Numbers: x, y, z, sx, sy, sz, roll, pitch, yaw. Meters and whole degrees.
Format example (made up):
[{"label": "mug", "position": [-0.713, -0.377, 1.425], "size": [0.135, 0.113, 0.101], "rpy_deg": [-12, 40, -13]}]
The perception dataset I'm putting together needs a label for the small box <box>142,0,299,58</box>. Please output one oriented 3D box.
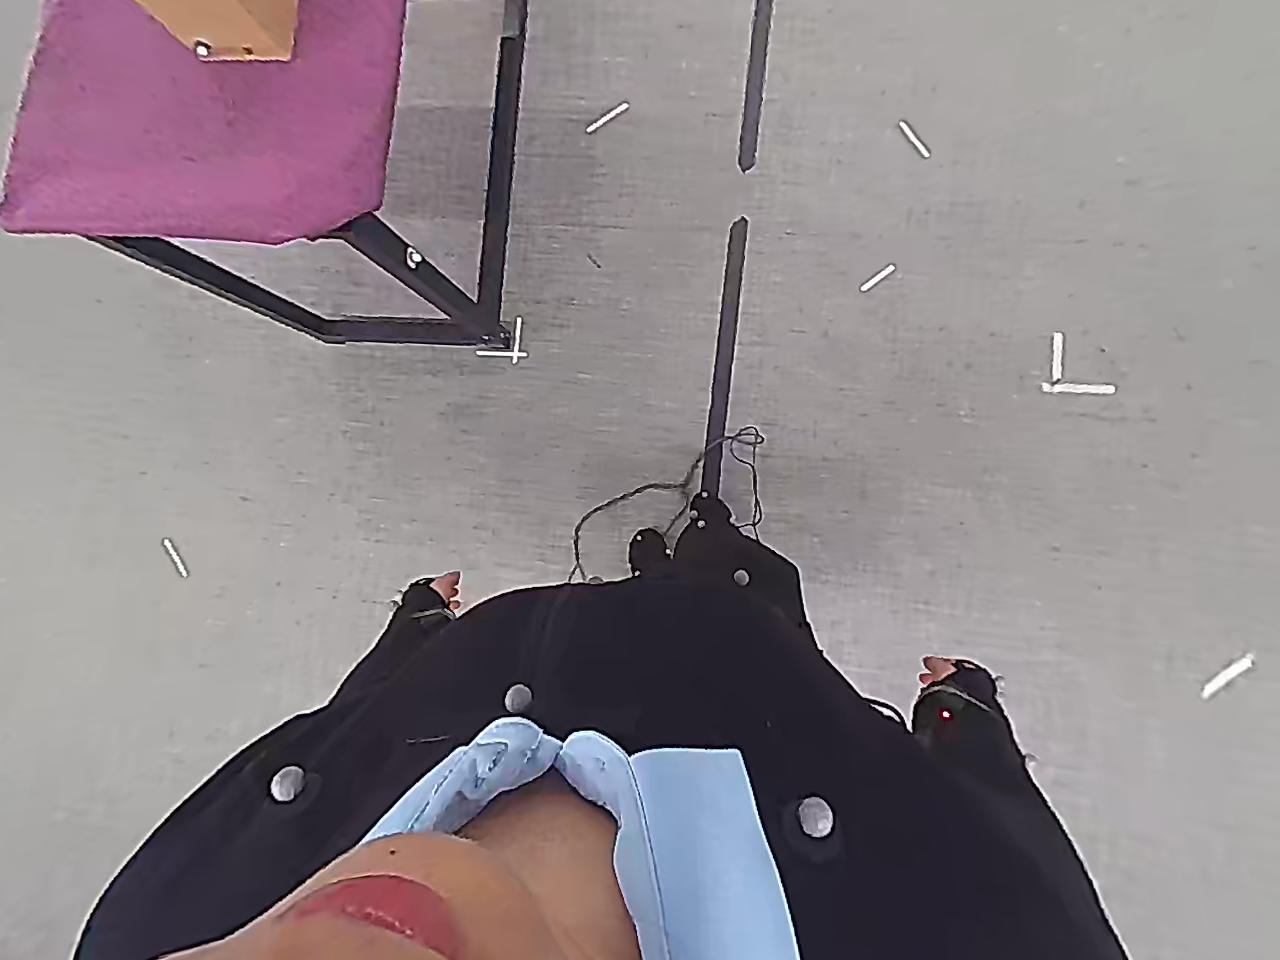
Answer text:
[{"label": "small box", "position": [-0.643, -0.776, 0.809], "size": [0.168, 0.176, 0.179], "rpy_deg": [5, 87, 6]}]
